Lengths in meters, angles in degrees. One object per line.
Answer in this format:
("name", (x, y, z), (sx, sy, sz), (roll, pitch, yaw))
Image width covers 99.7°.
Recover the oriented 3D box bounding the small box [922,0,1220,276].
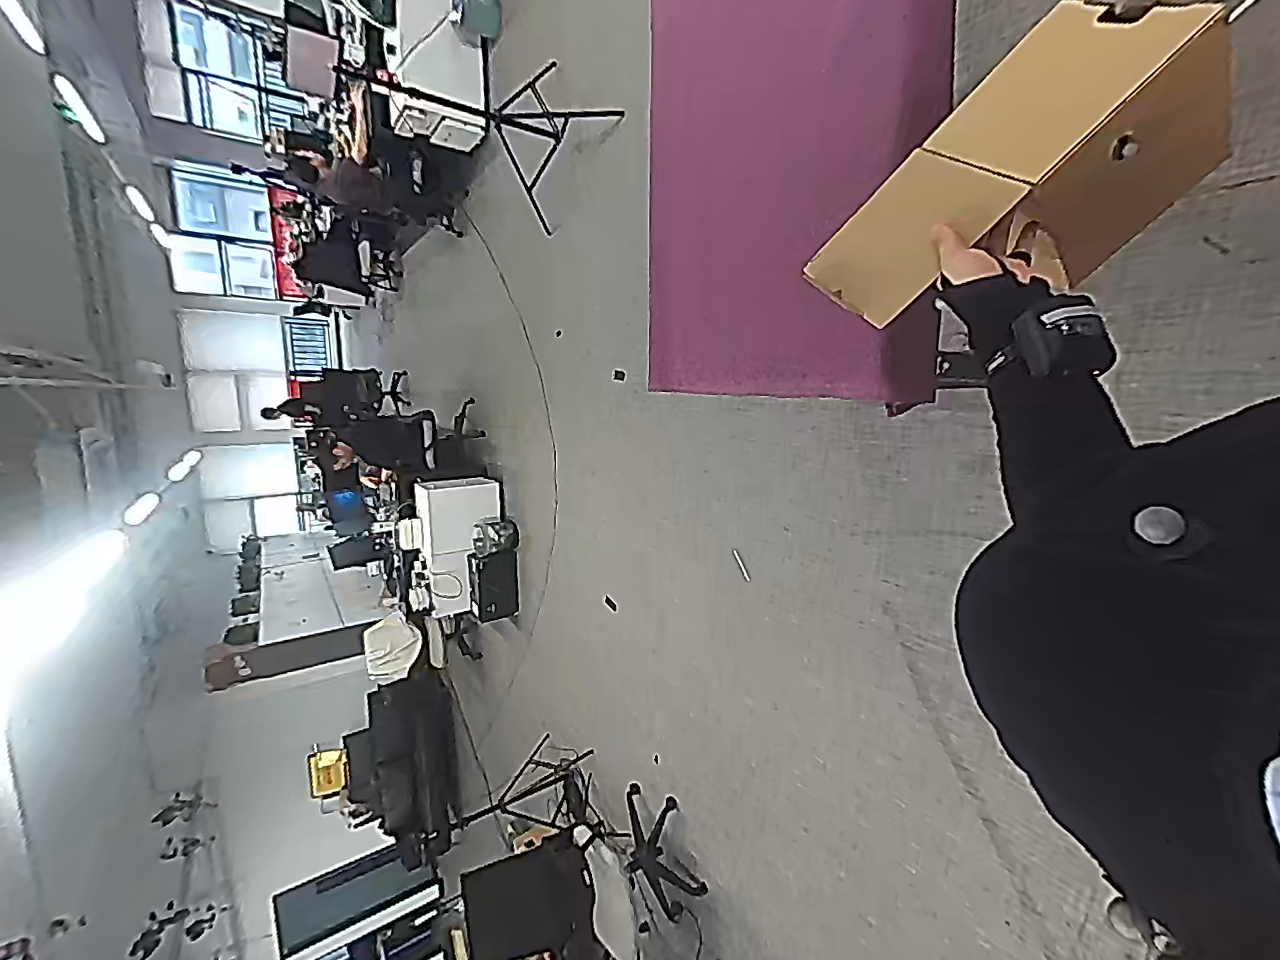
("small box", (0.450, -0.353, 0.571), (0.179, 0.176, 0.168), (-45, 41, 20))
